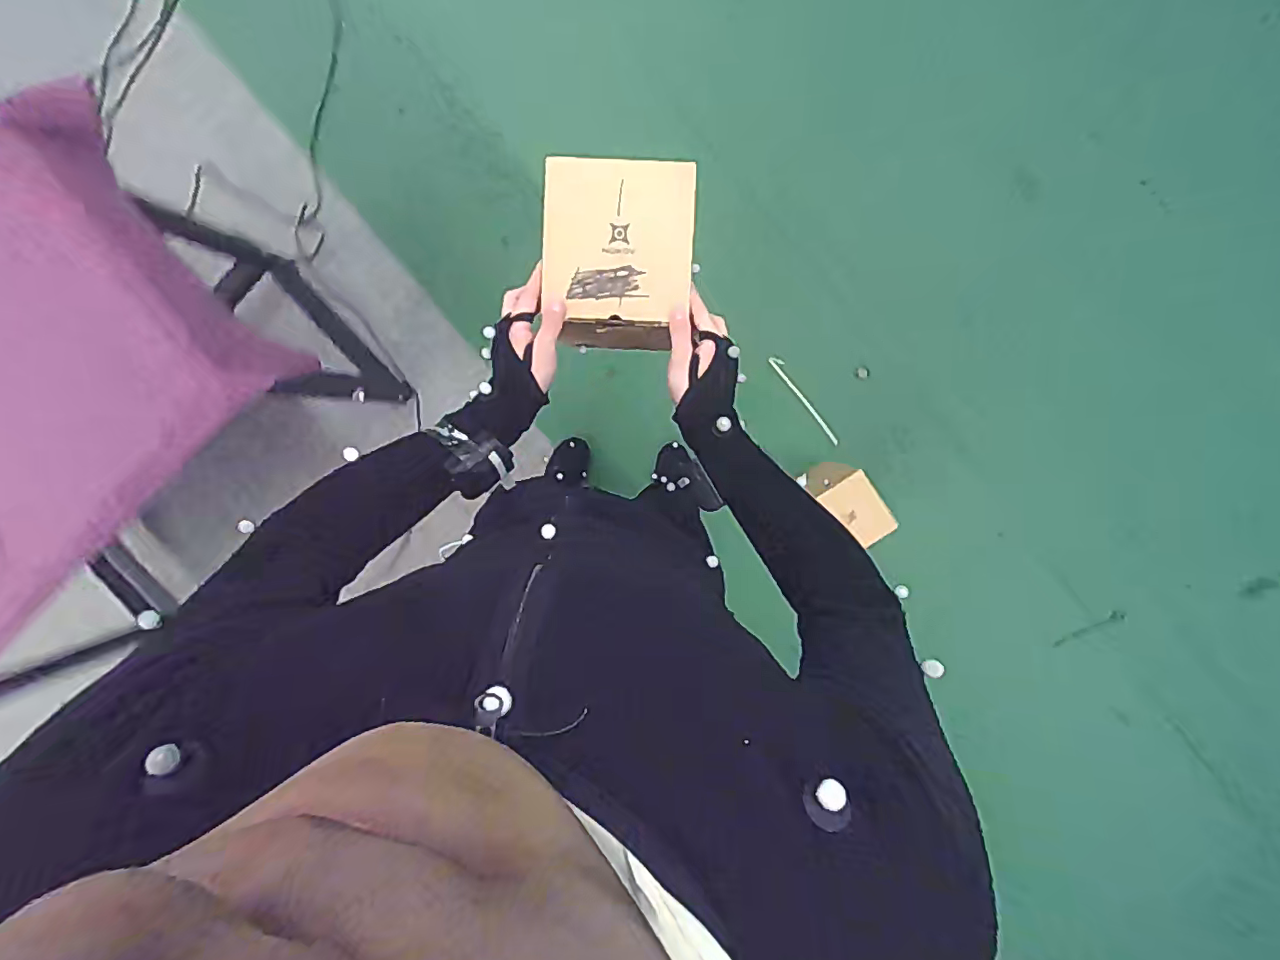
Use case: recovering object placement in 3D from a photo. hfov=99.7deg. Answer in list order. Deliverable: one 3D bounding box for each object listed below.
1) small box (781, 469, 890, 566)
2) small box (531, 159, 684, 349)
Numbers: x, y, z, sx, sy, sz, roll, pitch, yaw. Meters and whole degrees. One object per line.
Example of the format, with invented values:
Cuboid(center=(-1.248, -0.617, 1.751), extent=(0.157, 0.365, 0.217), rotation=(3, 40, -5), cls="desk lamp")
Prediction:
Cuboid(center=(0.480, 0.085, 1.357), extent=(0.179, 0.176, 0.168), rotation=(-33, 92, 7), cls="small box")
Cuboid(center=(-0.036, -0.263, 0.669), extent=(0.168, 0.176, 0.179), rotation=(1, 92, -1), cls="small box")
